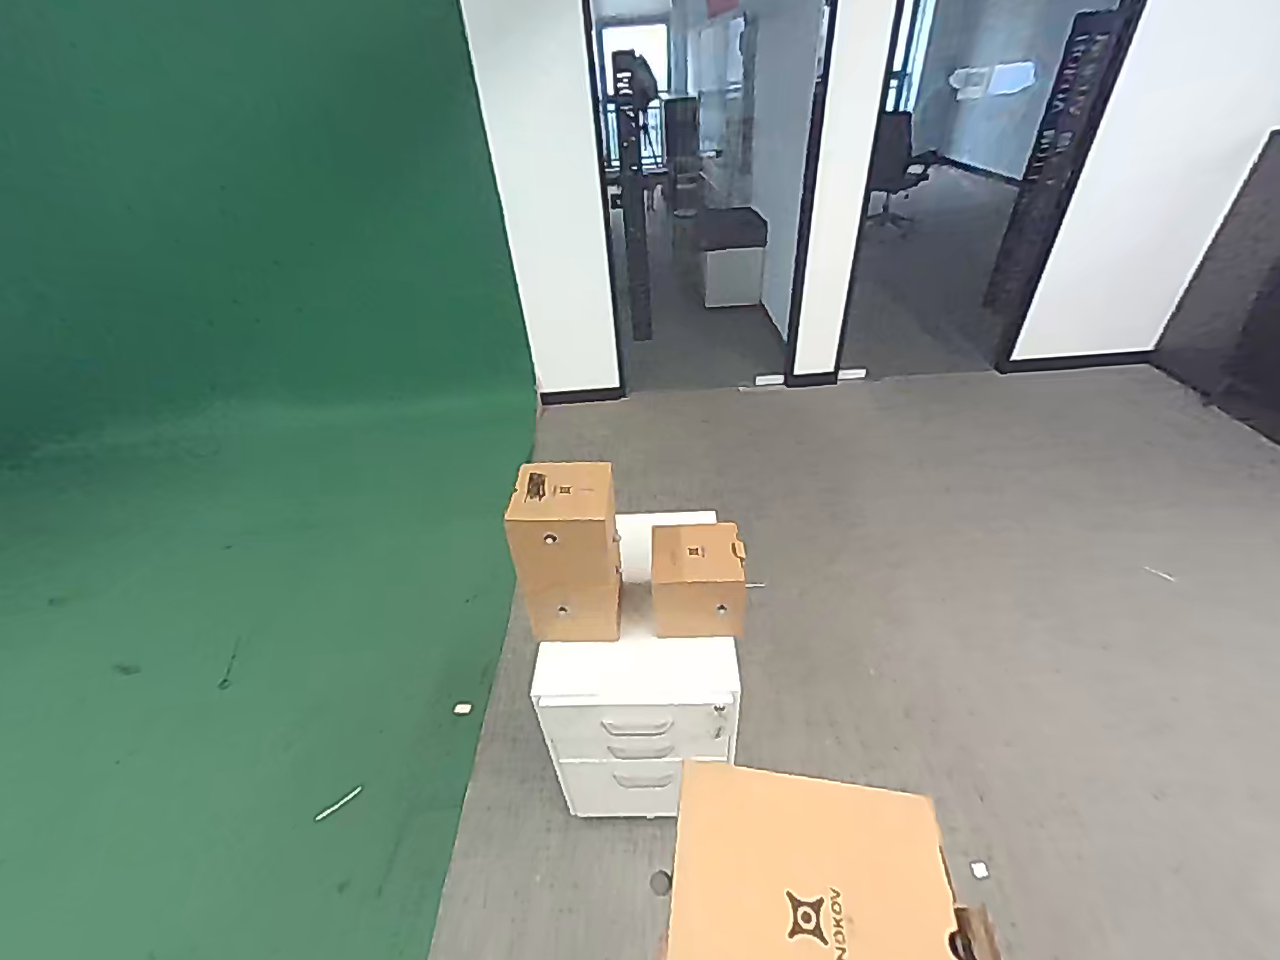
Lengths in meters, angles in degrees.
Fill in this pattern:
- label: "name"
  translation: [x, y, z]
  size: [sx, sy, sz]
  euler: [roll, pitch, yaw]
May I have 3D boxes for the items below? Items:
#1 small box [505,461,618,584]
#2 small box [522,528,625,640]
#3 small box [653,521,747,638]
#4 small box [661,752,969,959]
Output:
- label: "small box"
  translation: [-0.137, 0.080, 1.015]
  size: [0.179, 0.176, 0.168]
  euler: [0, 38, 2]
- label: "small box"
  translation: [-0.128, 0.213, 1.113]
  size: [0.179, 0.176, 0.168]
  euler: [-1, 38, 3]
- label: "small box"
  translation: [0.118, 0.204, 1.103]
  size: [0.179, 0.176, 0.168]
  euler: [-4, 37, 4]
- label: "small box"
  translation: [0.105, 0.321, 0.379]
  size: [0.179, 0.176, 0.168]
  euler: [6, 41, 6]
